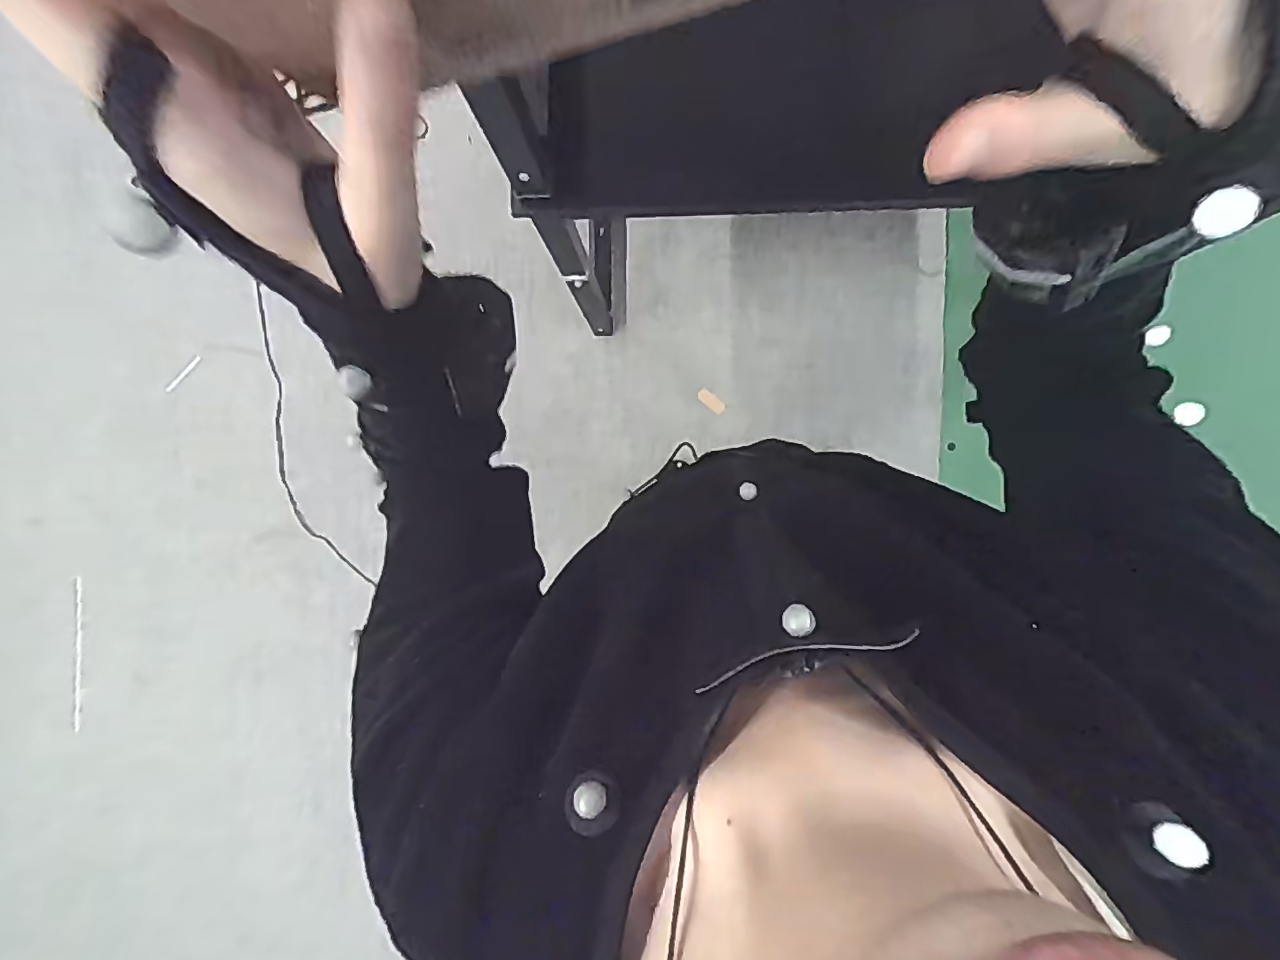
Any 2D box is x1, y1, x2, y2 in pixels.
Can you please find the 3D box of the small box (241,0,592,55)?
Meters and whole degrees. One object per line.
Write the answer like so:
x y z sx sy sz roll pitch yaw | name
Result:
-0.038 -0.194 0.069 0.168 0.176 0.179 -13 110 3 | small box
